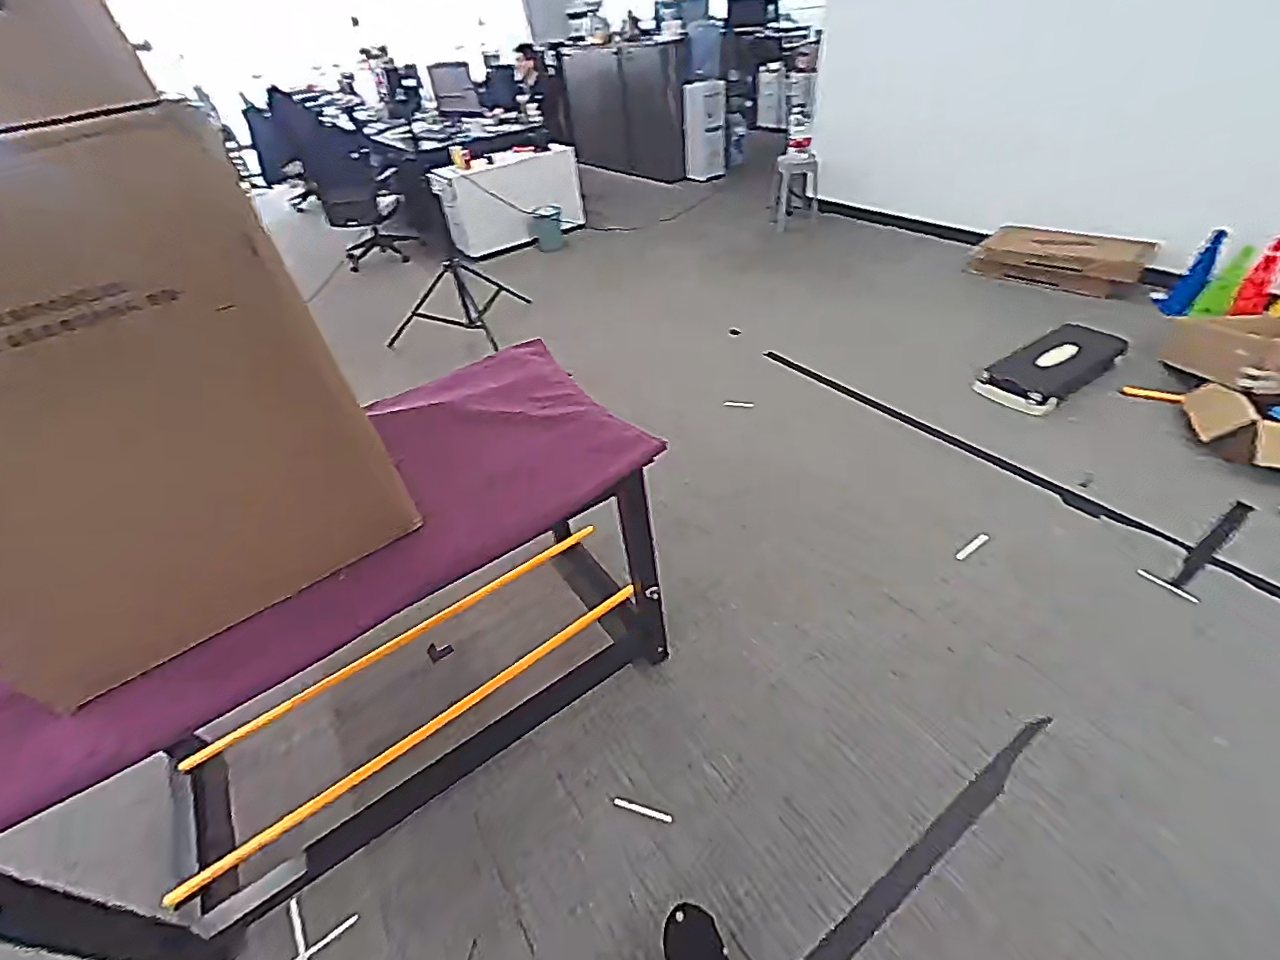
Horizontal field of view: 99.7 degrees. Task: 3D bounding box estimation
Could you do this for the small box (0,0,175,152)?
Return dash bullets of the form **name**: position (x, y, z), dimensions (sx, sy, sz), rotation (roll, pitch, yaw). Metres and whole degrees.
- **small box**: position (-0.583, -0.425, 0.504), dimensions (0.168, 0.176, 0.179), rotation (-28, 46, -21)
